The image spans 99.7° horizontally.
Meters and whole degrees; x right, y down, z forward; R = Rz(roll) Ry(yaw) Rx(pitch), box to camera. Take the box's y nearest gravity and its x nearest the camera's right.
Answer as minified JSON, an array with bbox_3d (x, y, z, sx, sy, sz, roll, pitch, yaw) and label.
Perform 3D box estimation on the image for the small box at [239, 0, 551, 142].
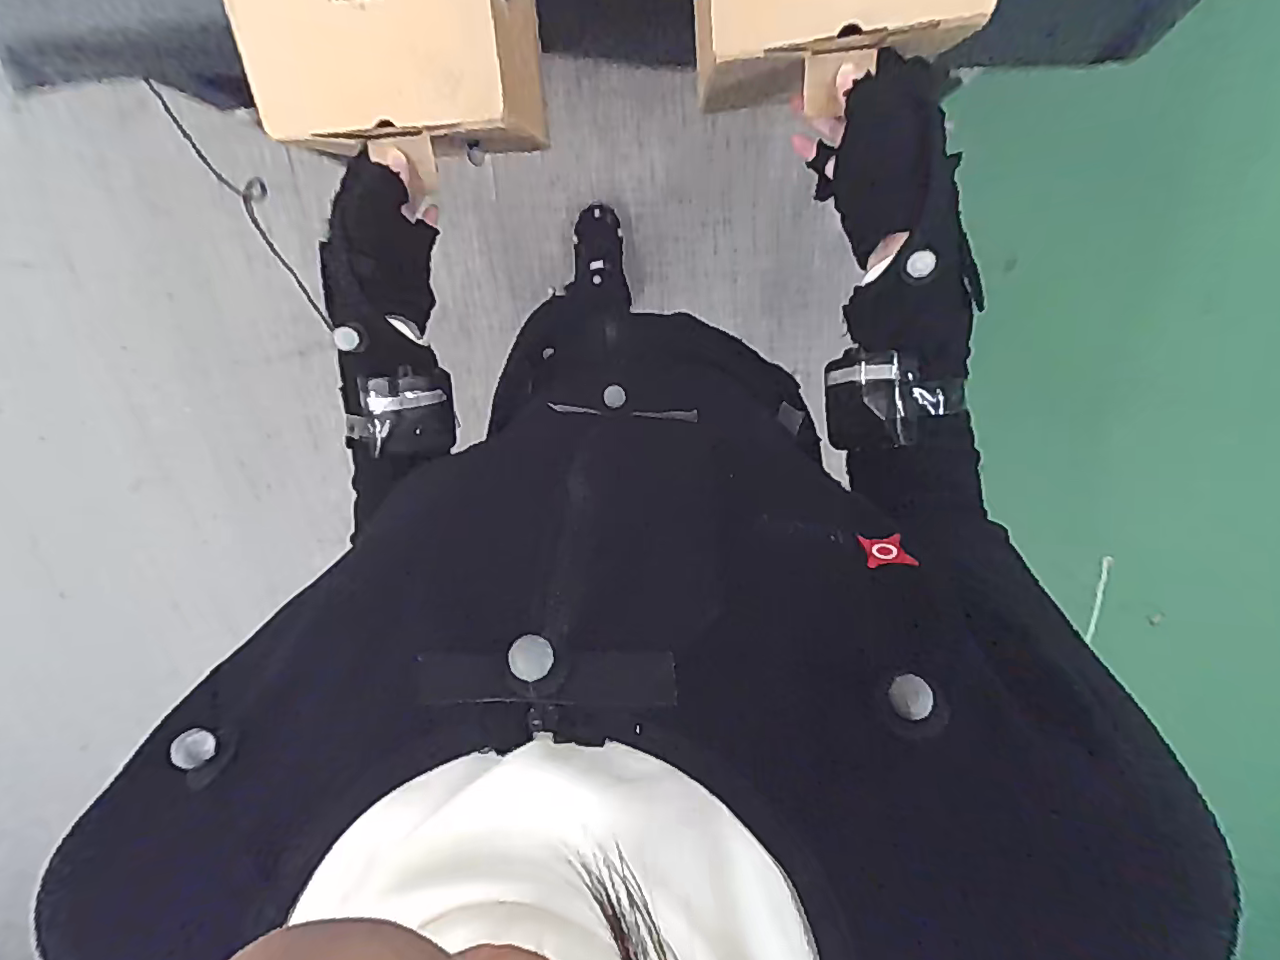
[{"bbox_3d":[-0.167,-0.358,0.394,0.168,0.176,0.179,-3,115,3],"label":"small box"}]
